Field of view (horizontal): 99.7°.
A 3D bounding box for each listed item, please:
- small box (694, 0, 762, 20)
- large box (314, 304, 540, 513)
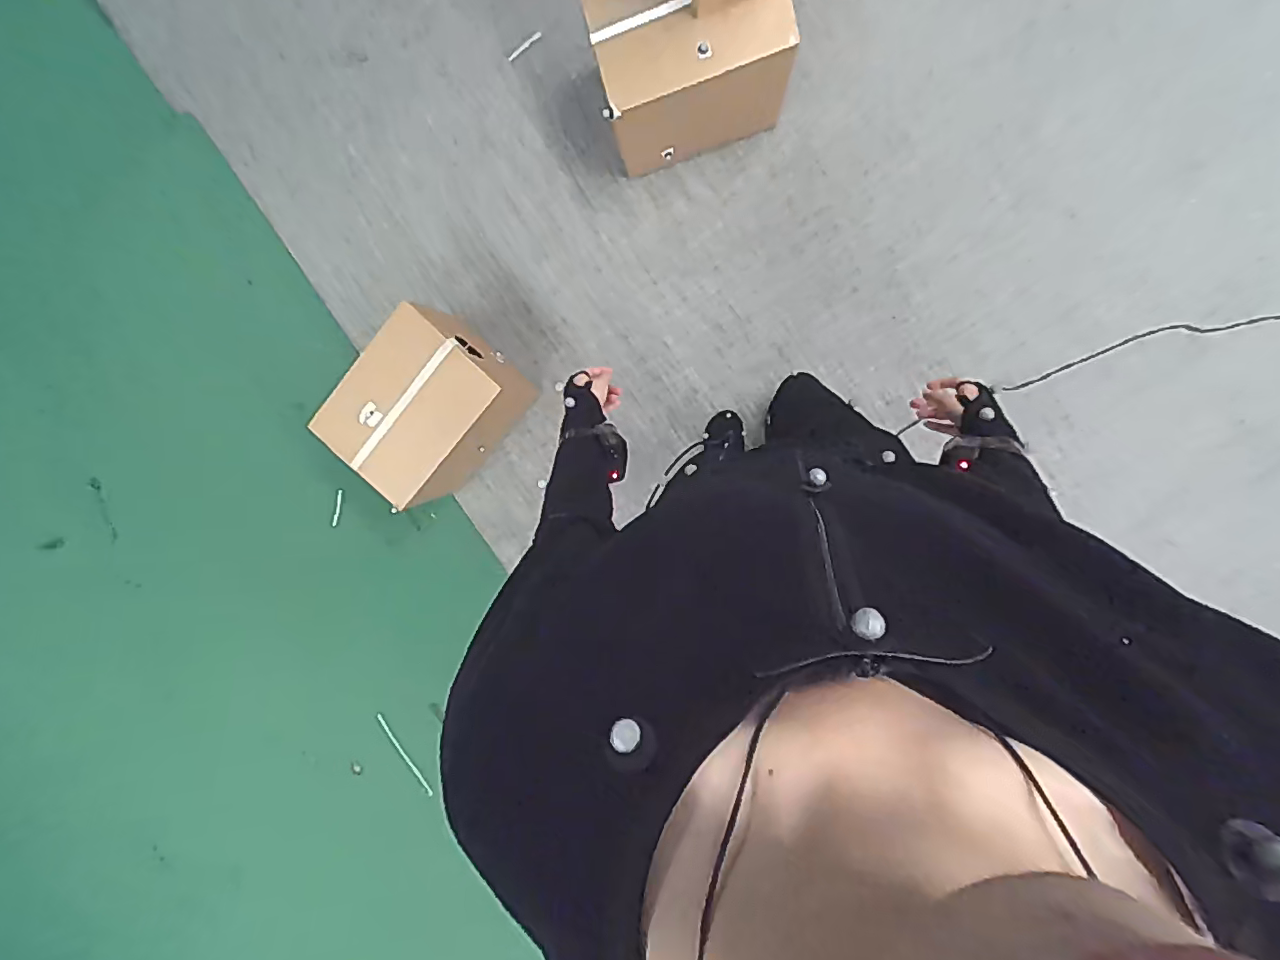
[{"bbox_3d":[0.164,-1.016,0.992,0.168,0.176,0.179,-15,93,9],"label":"small box"},{"bbox_3d":[-0.535,-0.184,1.421,0.320,0.320,0.408,43,101,1],"label":"large box"}]
